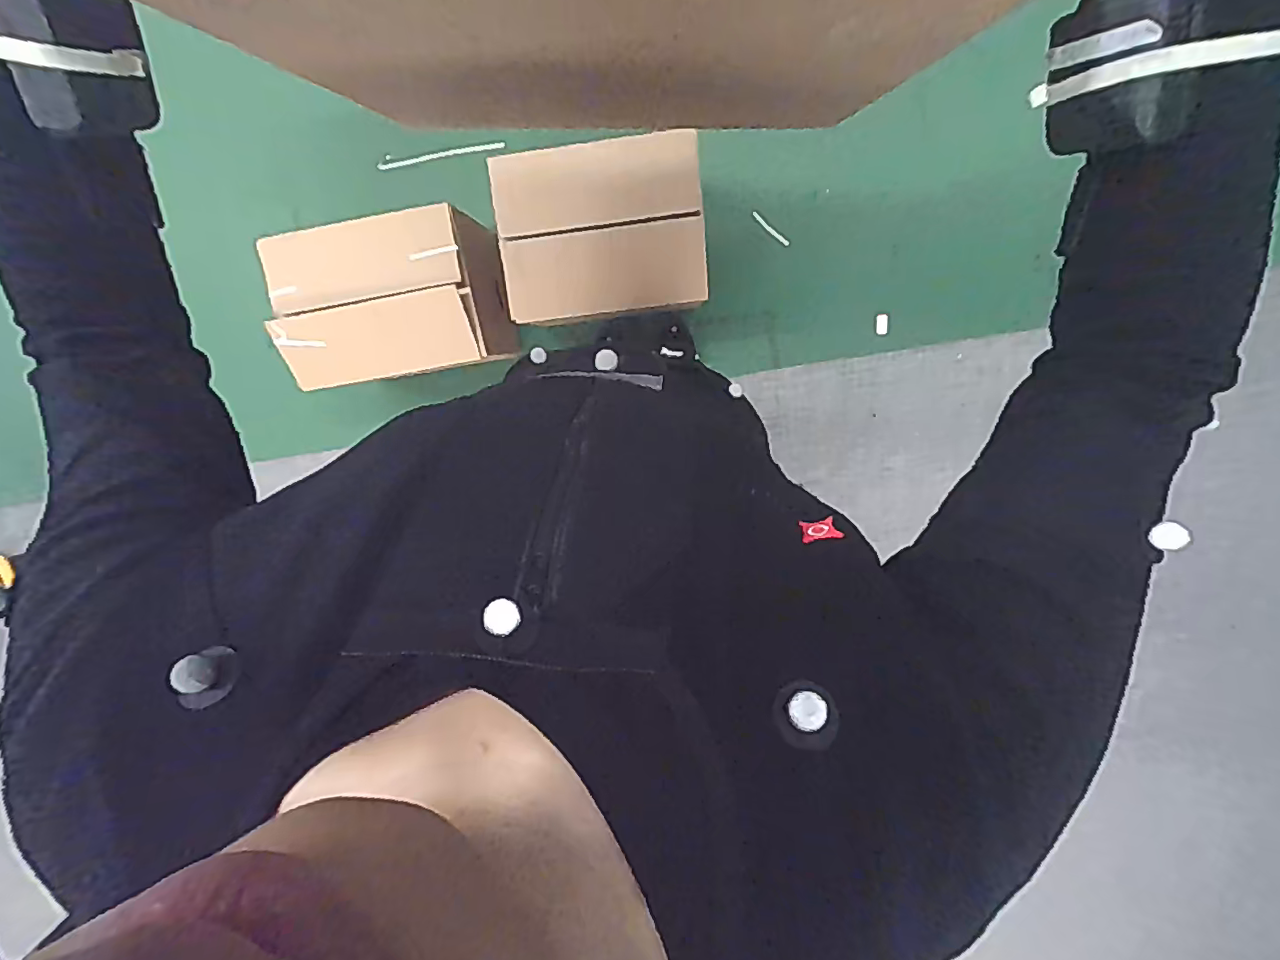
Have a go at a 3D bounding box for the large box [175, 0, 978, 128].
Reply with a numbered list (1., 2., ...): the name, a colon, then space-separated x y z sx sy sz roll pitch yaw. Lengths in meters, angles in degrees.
1. large box: -0.026 -0.412 0.302 0.408 0.320 0.320 0 114 0
